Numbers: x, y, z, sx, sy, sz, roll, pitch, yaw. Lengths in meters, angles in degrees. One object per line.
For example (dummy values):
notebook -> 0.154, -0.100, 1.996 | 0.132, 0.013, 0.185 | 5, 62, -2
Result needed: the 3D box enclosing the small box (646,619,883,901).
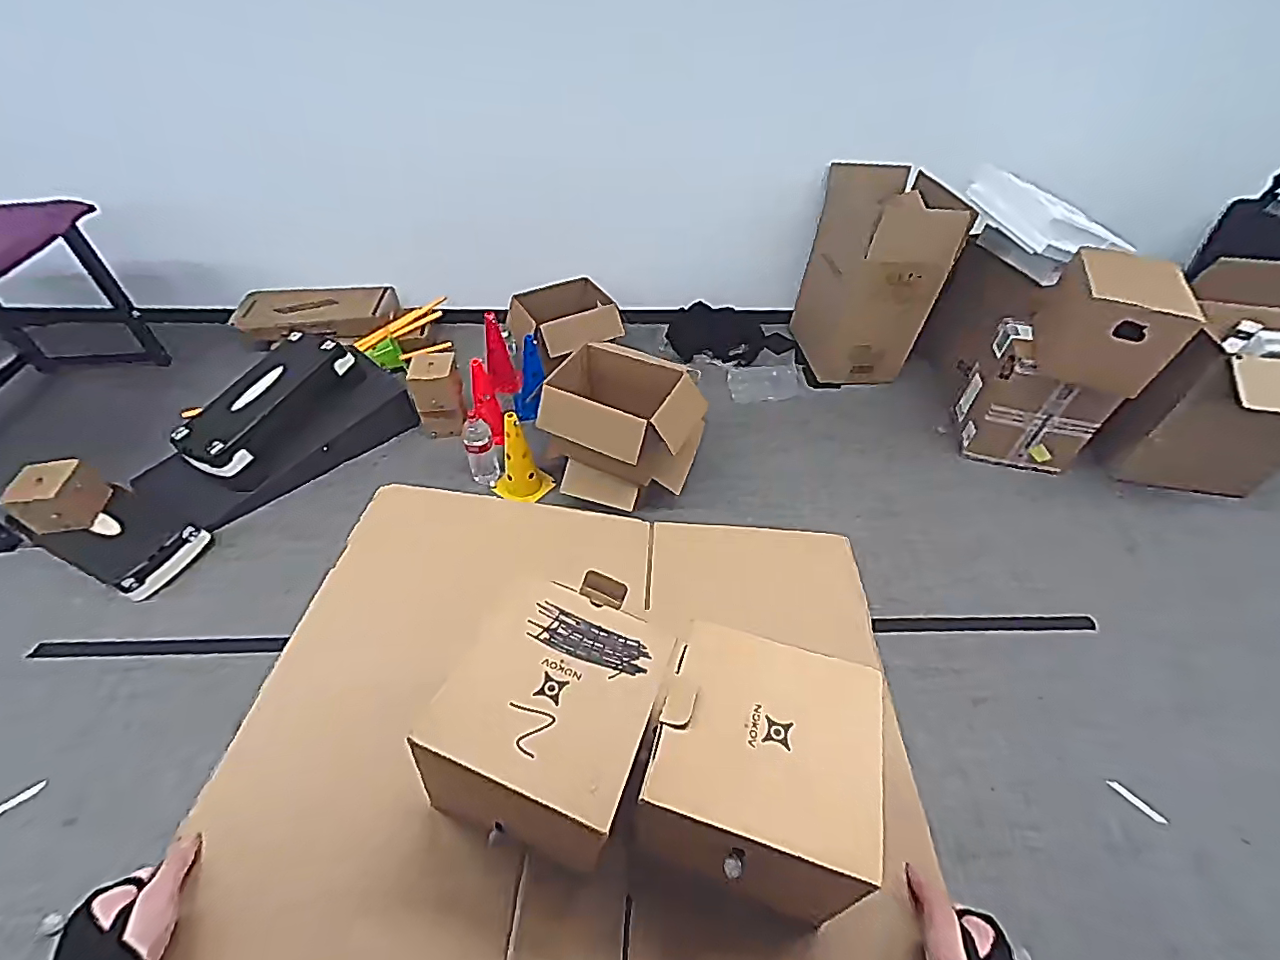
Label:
small box -> 0.111, 0.264, 0.509 | 0.179, 0.176, 0.168 | 12, 45, 12
